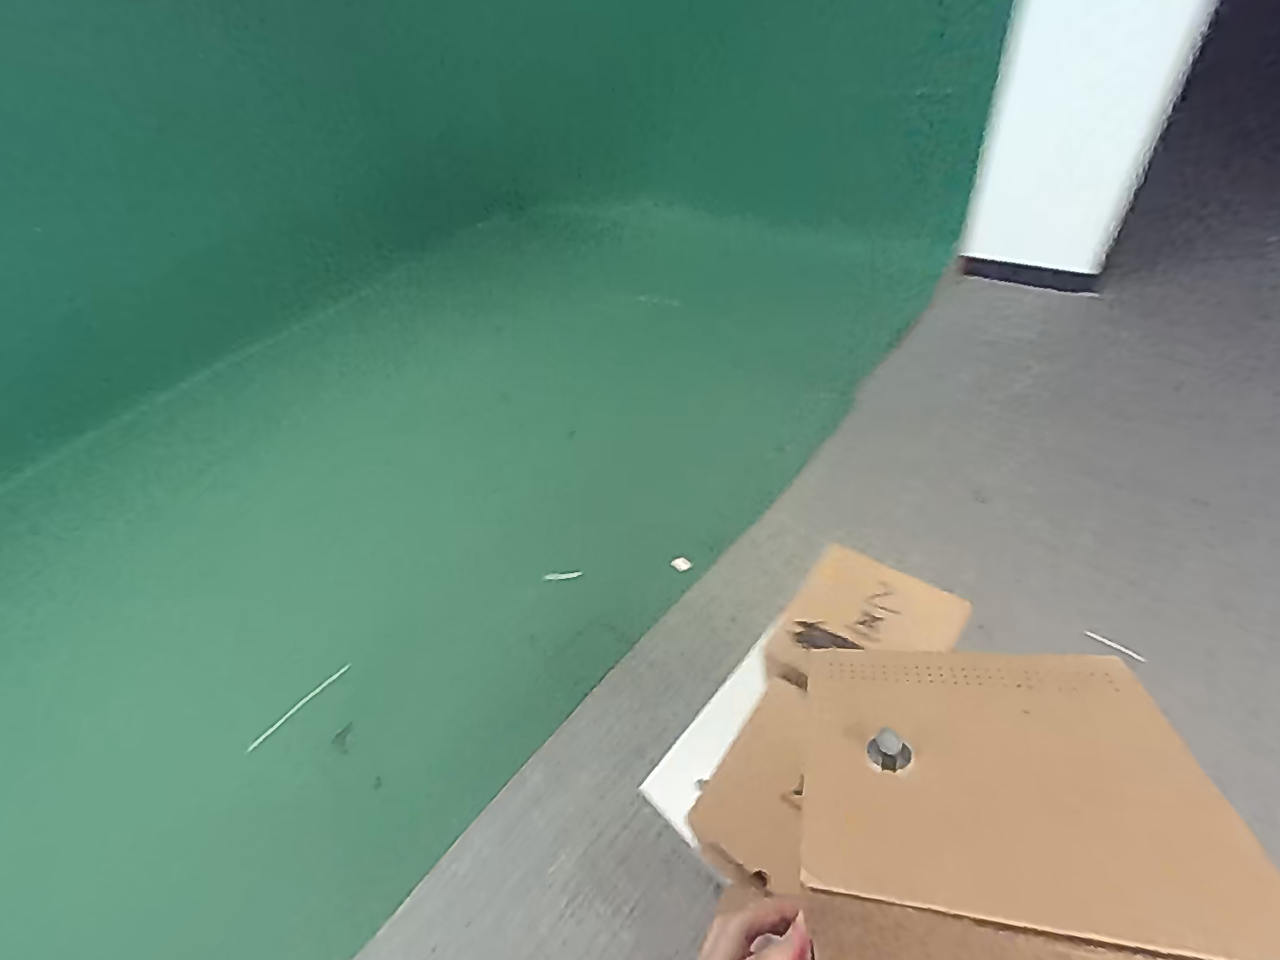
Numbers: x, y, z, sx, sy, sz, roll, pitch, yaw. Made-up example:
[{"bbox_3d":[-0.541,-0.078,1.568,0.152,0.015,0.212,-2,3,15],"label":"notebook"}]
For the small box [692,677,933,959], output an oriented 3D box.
[{"bbox_3d":[0.174,0.352,0.567,0.168,0.176,0.179,26,59,32],"label":"small box"}]
